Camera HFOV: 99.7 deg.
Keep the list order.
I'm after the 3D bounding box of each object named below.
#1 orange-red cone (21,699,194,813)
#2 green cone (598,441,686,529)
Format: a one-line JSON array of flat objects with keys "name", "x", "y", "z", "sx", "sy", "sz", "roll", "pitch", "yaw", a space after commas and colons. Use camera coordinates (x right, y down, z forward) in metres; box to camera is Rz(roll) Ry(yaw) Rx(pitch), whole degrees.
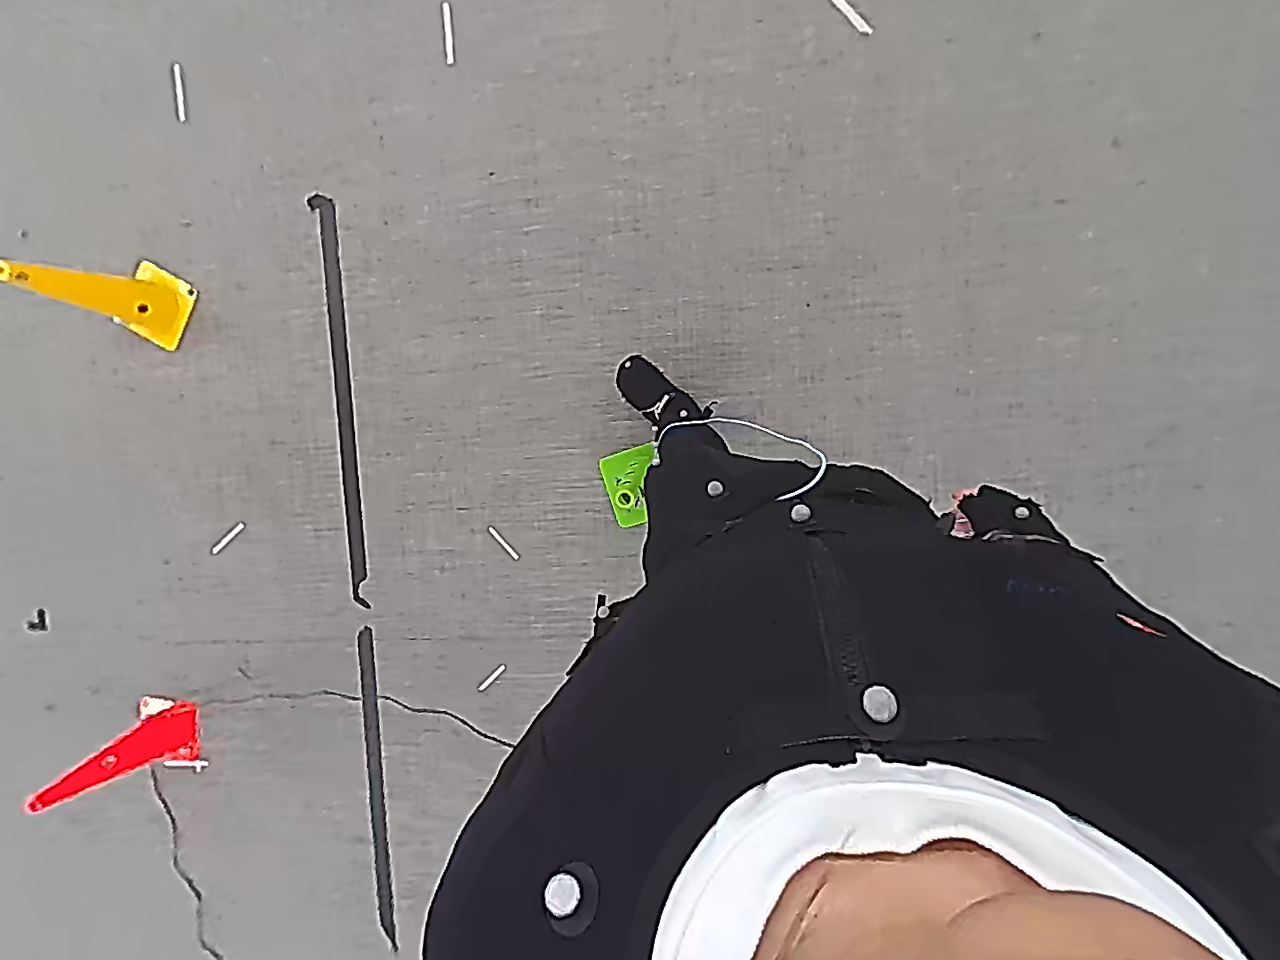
[{"name": "orange-red cone", "x": -1.502, "y": 0.797, "z": 1.516, "sx": 0.198, "sy": 0.360, "sz": 0.199, "roll": 5, "pitch": 94, "yaw": 6}, {"name": "green cone", "x": -0.017, "y": 0.030, "z": 1.270, "sx": 0.200, "sy": 0.368, "sz": 0.202, "roll": -18, "pitch": 93, "yaw": 9}]
